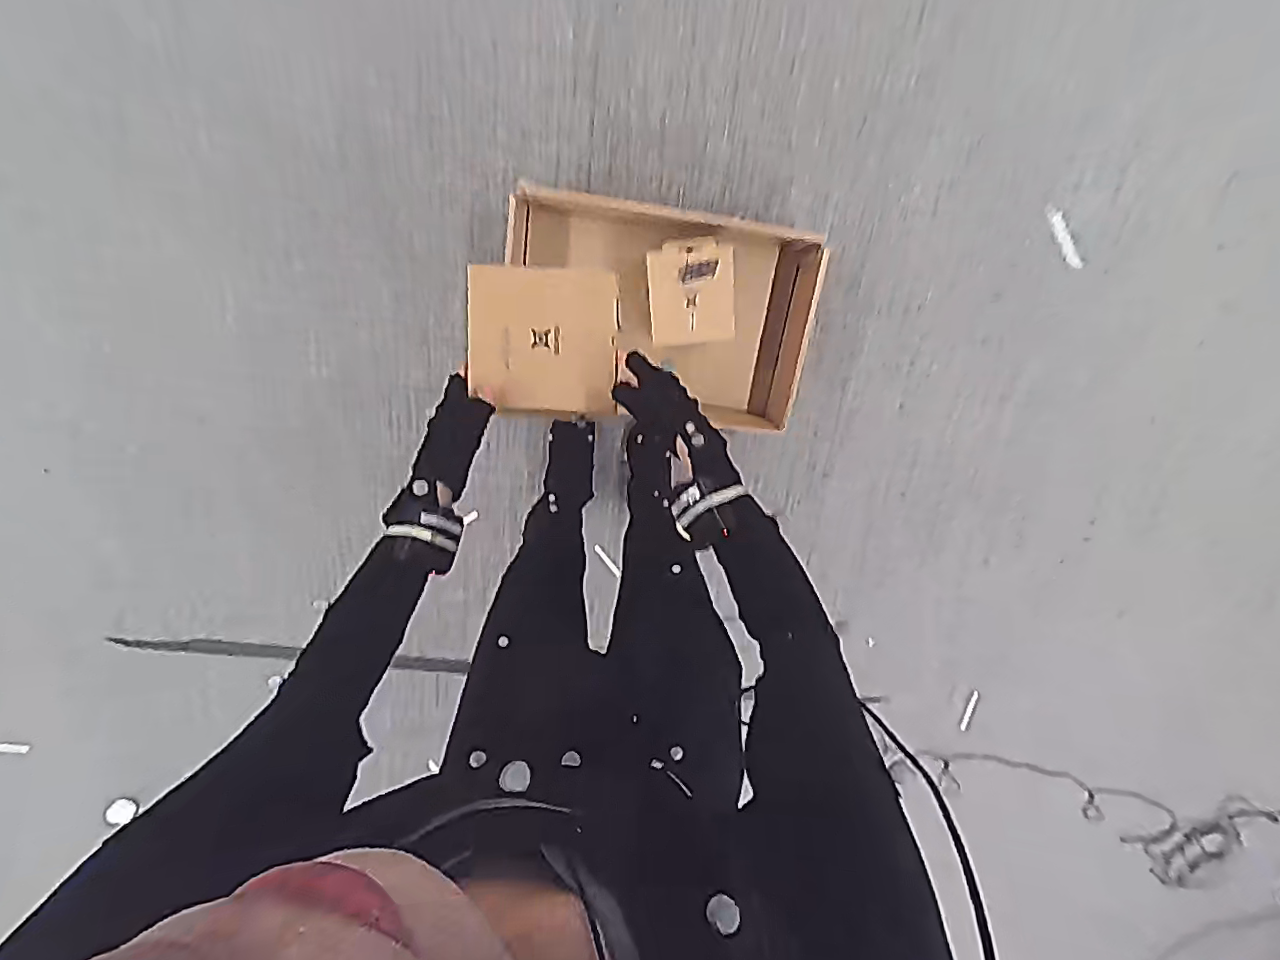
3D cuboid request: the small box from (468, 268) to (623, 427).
[{"bbox_3d":[-0.116,-0.159,0.699,0.179,0.176,0.168,0,91,-5],"label":"small box"}]
